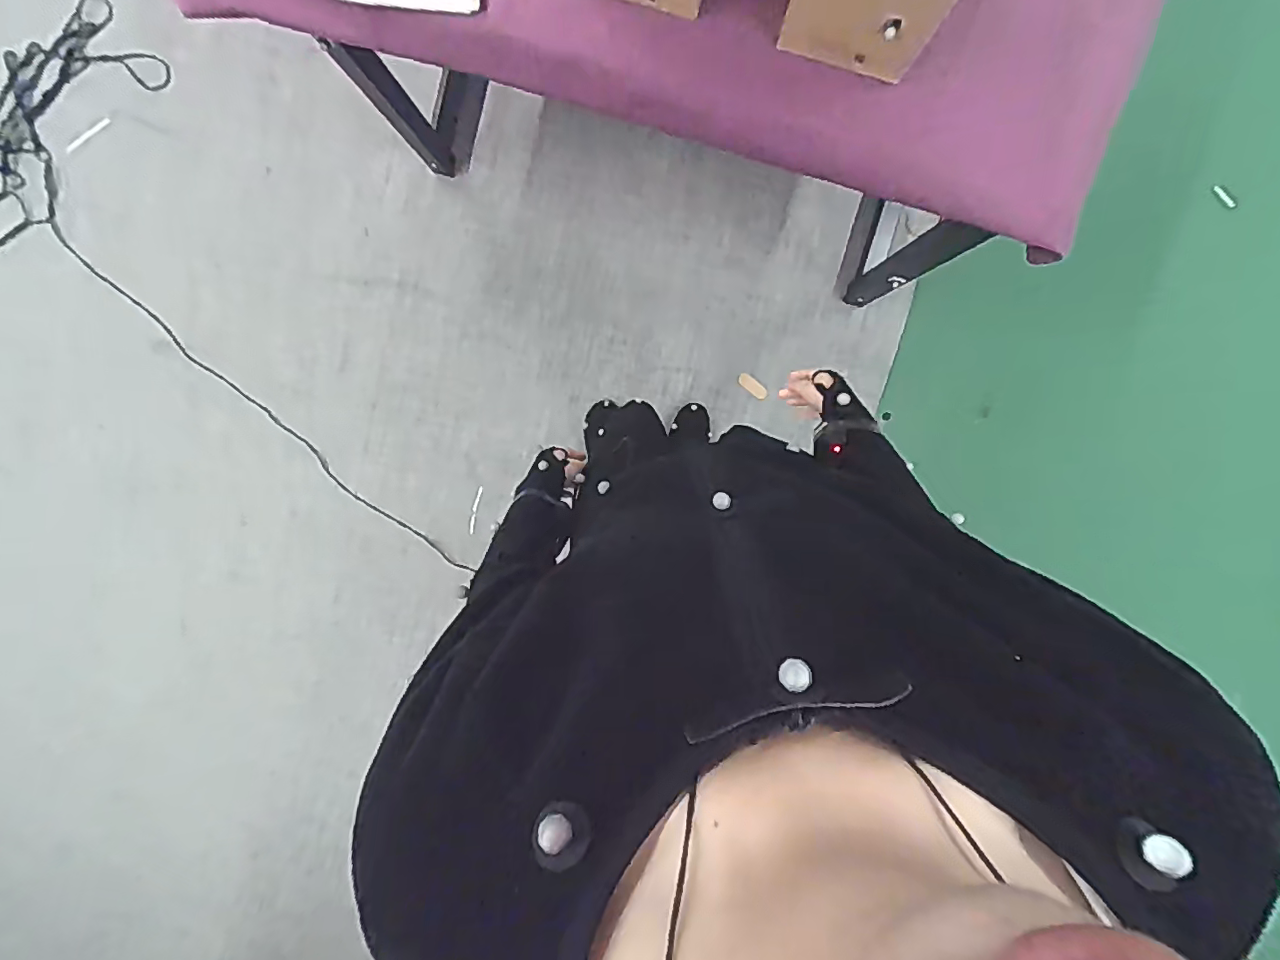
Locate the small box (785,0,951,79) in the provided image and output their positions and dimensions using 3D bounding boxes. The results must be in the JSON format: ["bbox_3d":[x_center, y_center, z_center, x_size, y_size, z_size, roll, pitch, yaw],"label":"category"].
[{"bbox_3d":[0.279,-0.609,0.614,0.168,0.176,0.179,17,95,-2],"label":"small box"}]
